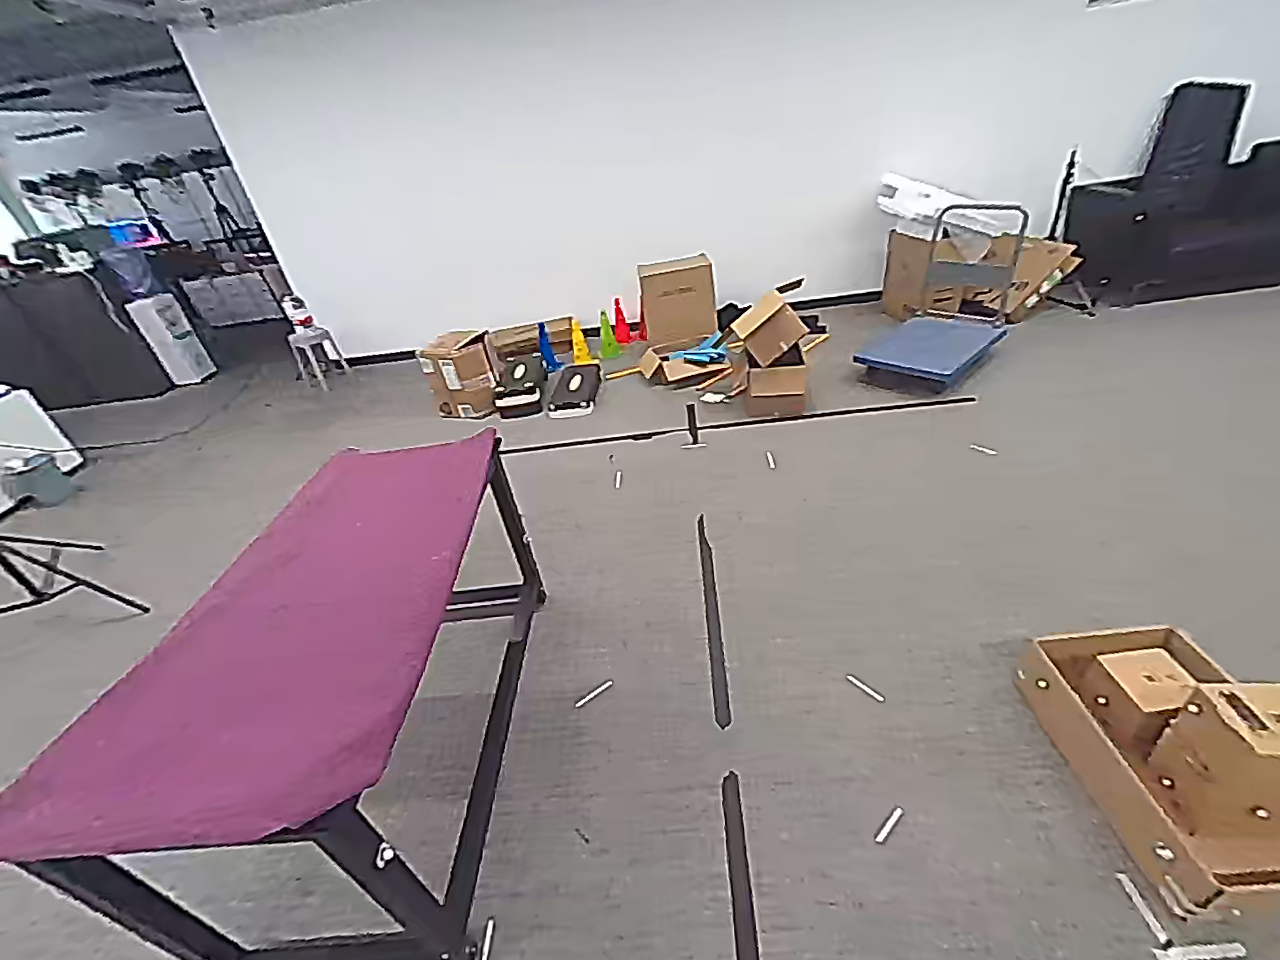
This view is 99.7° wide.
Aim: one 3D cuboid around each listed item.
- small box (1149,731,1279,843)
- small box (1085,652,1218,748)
[{"bbox_3d":[1.332,0.698,1.230,0.179,0.176,0.168,-5,32,9],"label":"small box"},{"bbox_3d":[1.311,0.577,1.408,0.179,0.176,0.168,-7,35,3],"label":"small box"}]
